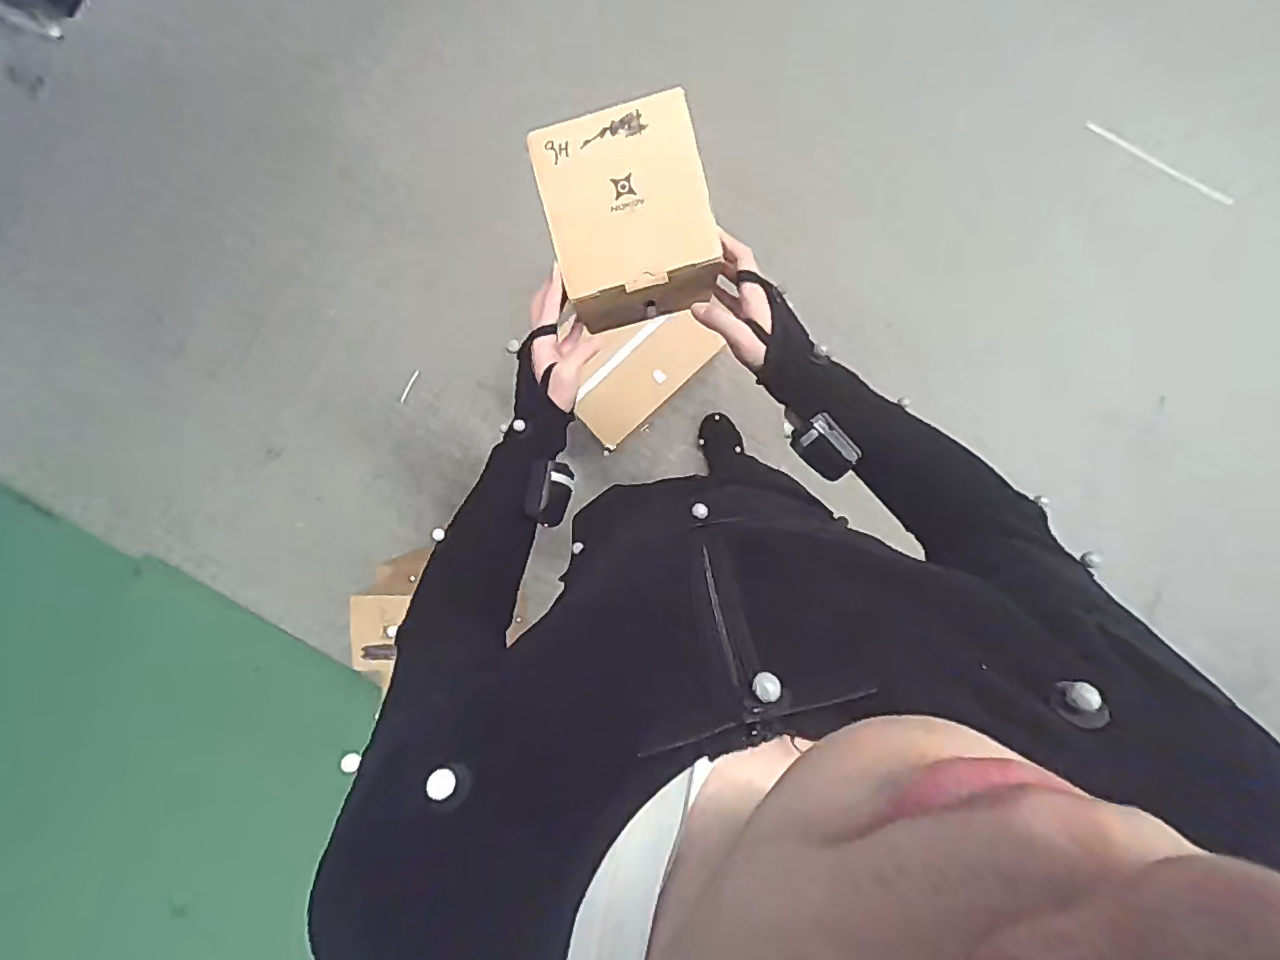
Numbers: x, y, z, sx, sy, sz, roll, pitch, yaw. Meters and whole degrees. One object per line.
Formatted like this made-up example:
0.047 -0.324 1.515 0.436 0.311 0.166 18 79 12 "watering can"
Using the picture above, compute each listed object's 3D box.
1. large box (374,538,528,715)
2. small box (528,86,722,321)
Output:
-0.510 0.393 1.530 0.320 0.320 0.408 -2 94 2 "large box"
-0.010 -0.292 0.620 0.168 0.176 0.179 -14 94 3 "small box"
